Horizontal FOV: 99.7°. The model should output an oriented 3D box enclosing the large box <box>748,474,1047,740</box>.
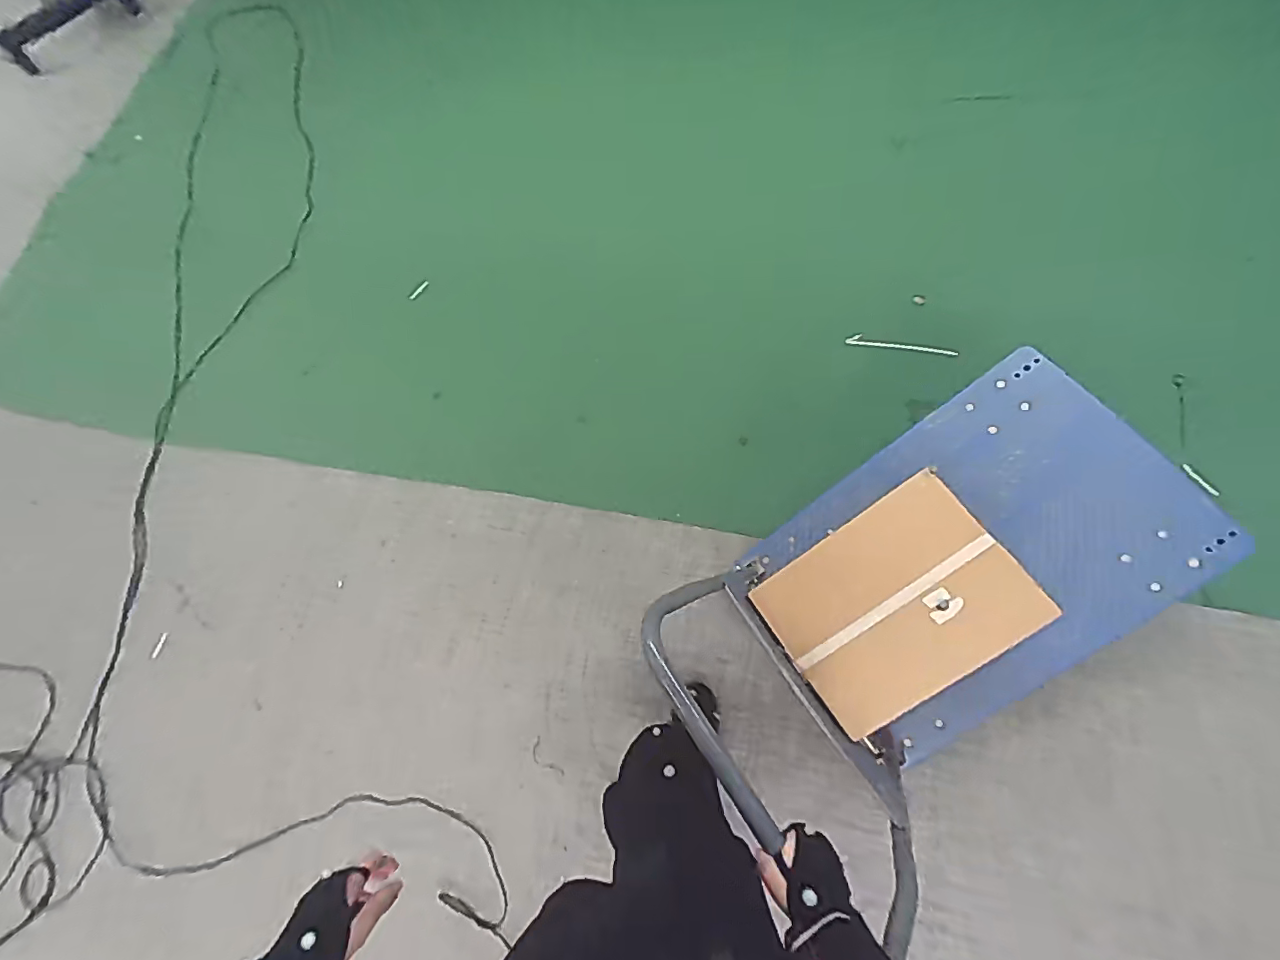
[{"bbox_3d":[0.490,0.252,1.109,0.408,0.320,0.320,-38,71,9],"label":"large box"}]
